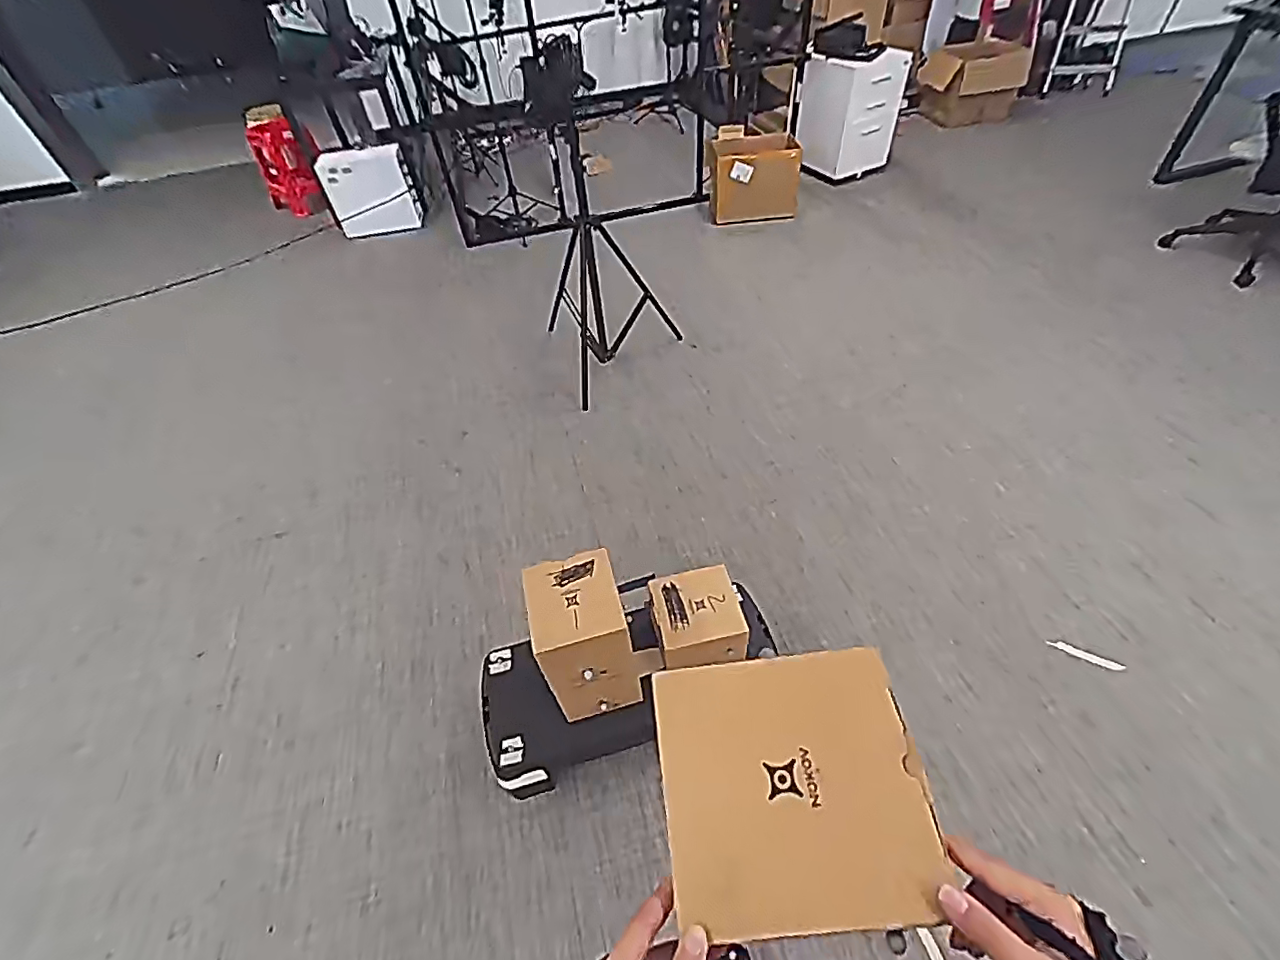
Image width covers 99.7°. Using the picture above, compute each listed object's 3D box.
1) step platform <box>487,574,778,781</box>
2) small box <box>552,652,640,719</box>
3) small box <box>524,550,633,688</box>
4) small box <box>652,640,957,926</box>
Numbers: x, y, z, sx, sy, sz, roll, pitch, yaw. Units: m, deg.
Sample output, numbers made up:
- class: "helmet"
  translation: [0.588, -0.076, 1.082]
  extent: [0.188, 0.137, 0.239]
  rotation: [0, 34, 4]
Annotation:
- class: "step platform"
  translation: [-0.012, 0.459, 1.297]
  extent: [0.684, 0.204, 0.286]
  rotation: [-15, 48, -7]
- class: "small box"
  translation: [-0.100, 0.376, 1.146]
  extent: [0.168, 0.176, 0.179]
  rotation: [-13, 48, -6]
- class: "small box"
  translation: [-0.115, 0.265, 1.026]
  extent: [0.168, 0.176, 0.179]
  rotation: [-14, 49, -7]
- class: "small box"
  translation: [0.110, 0.245, 0.439]
  extent: [0.179, 0.176, 0.168]
  rotation: [-8, 55, 2]
